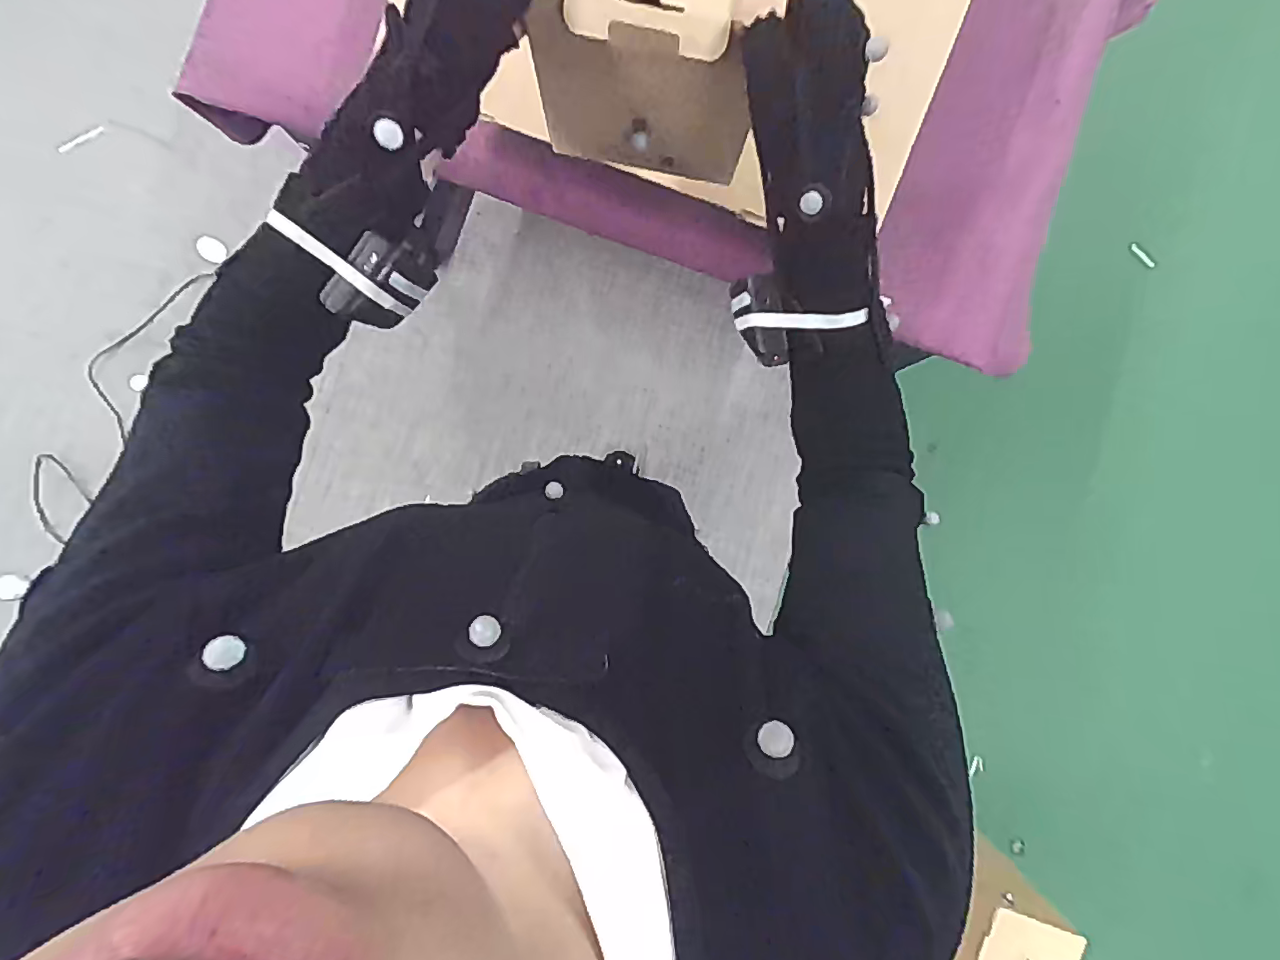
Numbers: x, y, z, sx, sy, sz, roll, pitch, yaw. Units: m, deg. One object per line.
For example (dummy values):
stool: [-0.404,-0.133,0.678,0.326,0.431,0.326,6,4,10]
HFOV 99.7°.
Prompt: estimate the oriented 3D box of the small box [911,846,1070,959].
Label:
small box: [0.685,0.877,1.075,0.179,0.176,0.168,20,89,-1]

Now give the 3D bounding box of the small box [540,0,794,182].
small box: [0.024,-0.370,0.409,0.168,0.176,0.179,11,89,-2]
